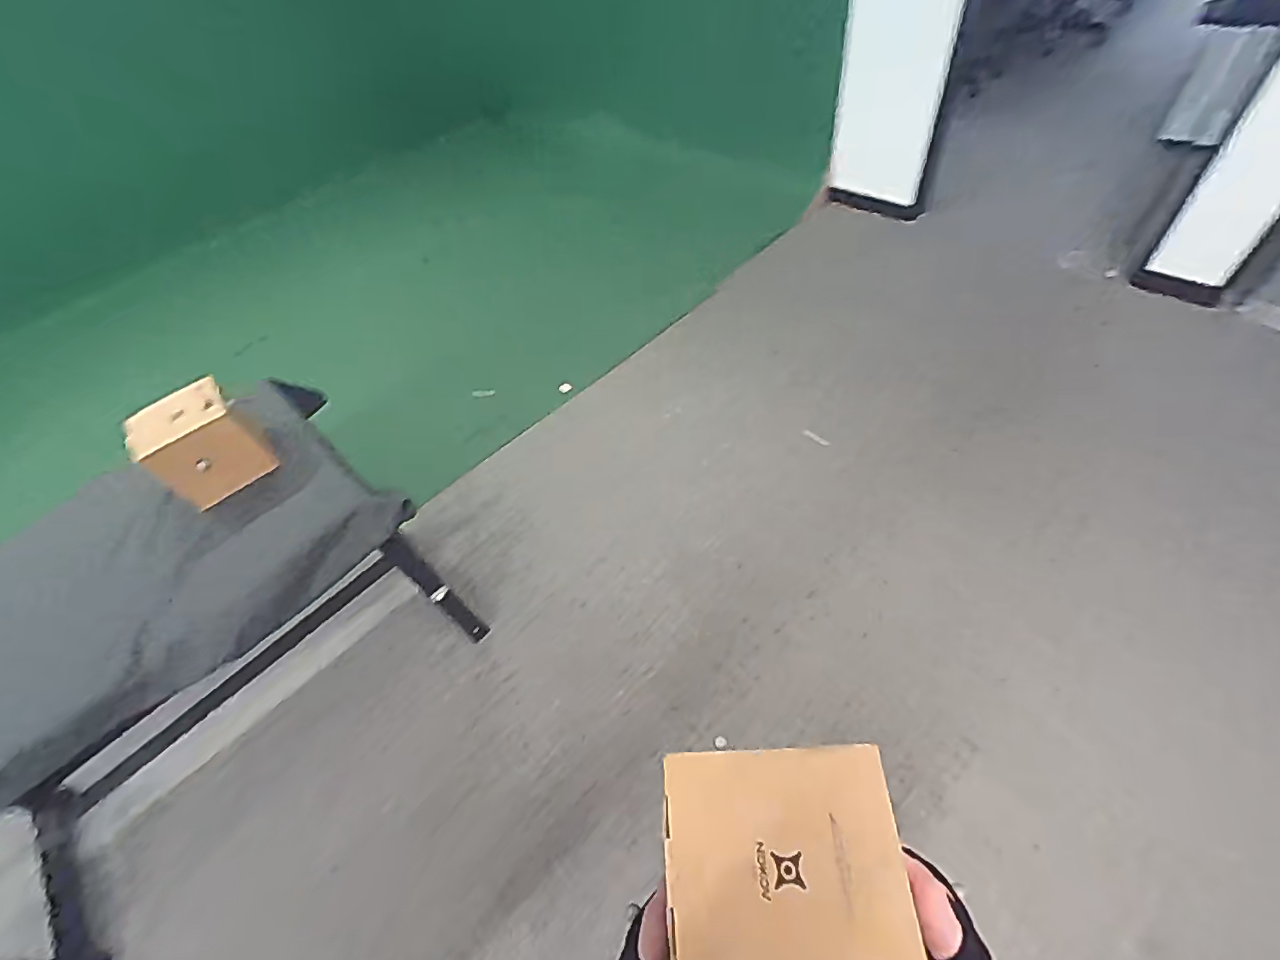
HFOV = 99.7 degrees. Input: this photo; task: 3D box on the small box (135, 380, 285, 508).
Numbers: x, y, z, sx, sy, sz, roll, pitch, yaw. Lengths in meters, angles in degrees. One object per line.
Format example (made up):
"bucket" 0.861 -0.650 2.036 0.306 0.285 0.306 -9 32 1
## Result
"small box" -0.911 -0.072 1.154 0.179 0.176 0.168 -38 56 -17
